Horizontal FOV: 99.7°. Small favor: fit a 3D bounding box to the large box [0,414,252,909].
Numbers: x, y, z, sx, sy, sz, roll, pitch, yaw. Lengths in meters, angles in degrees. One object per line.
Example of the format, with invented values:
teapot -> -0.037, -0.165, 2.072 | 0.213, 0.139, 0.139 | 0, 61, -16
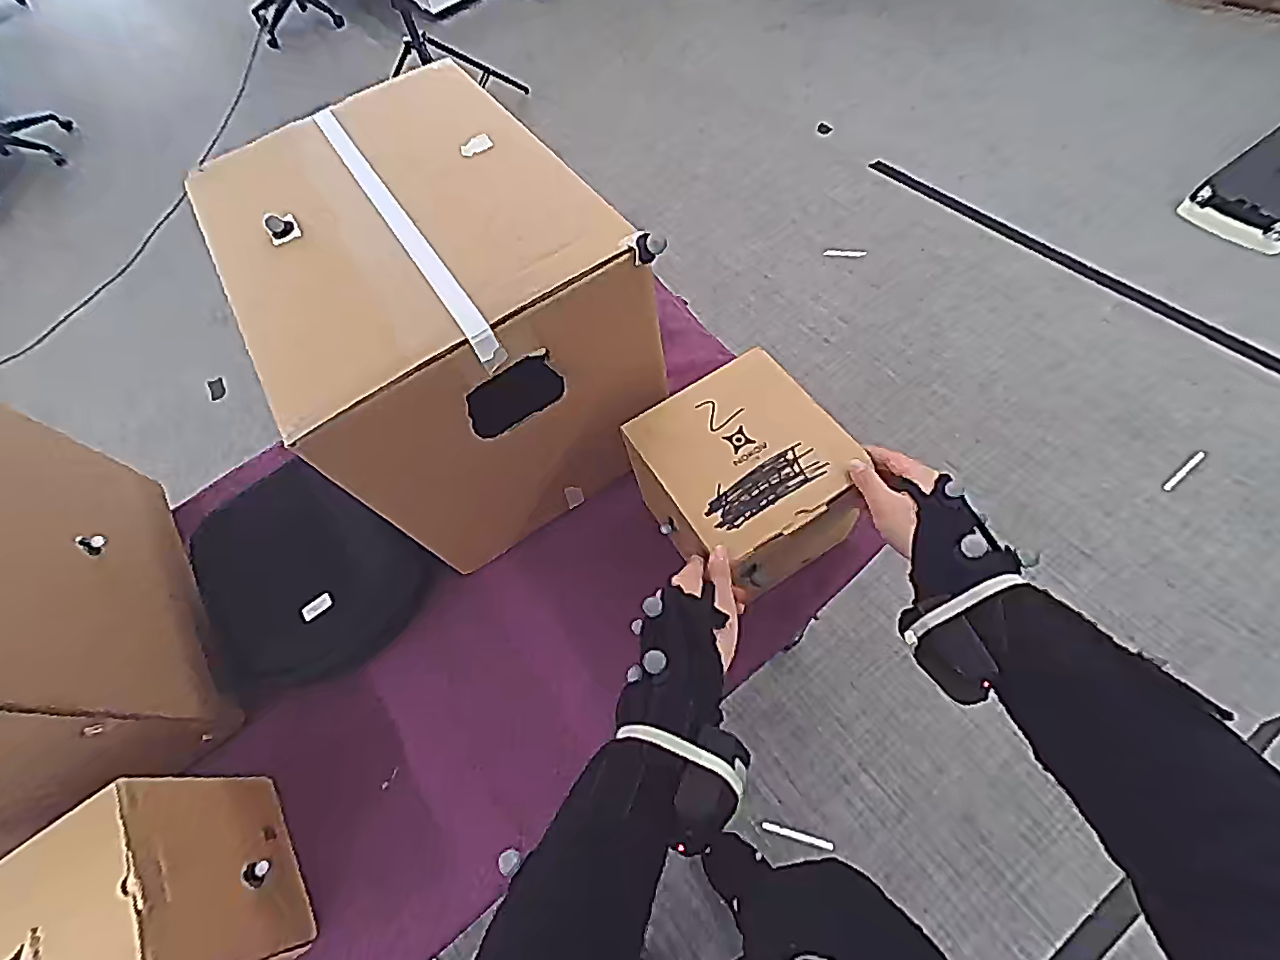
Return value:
large box -> -0.691, 0.163, 0.530 | 0.320, 0.320, 0.408 | -38, 66, -11
